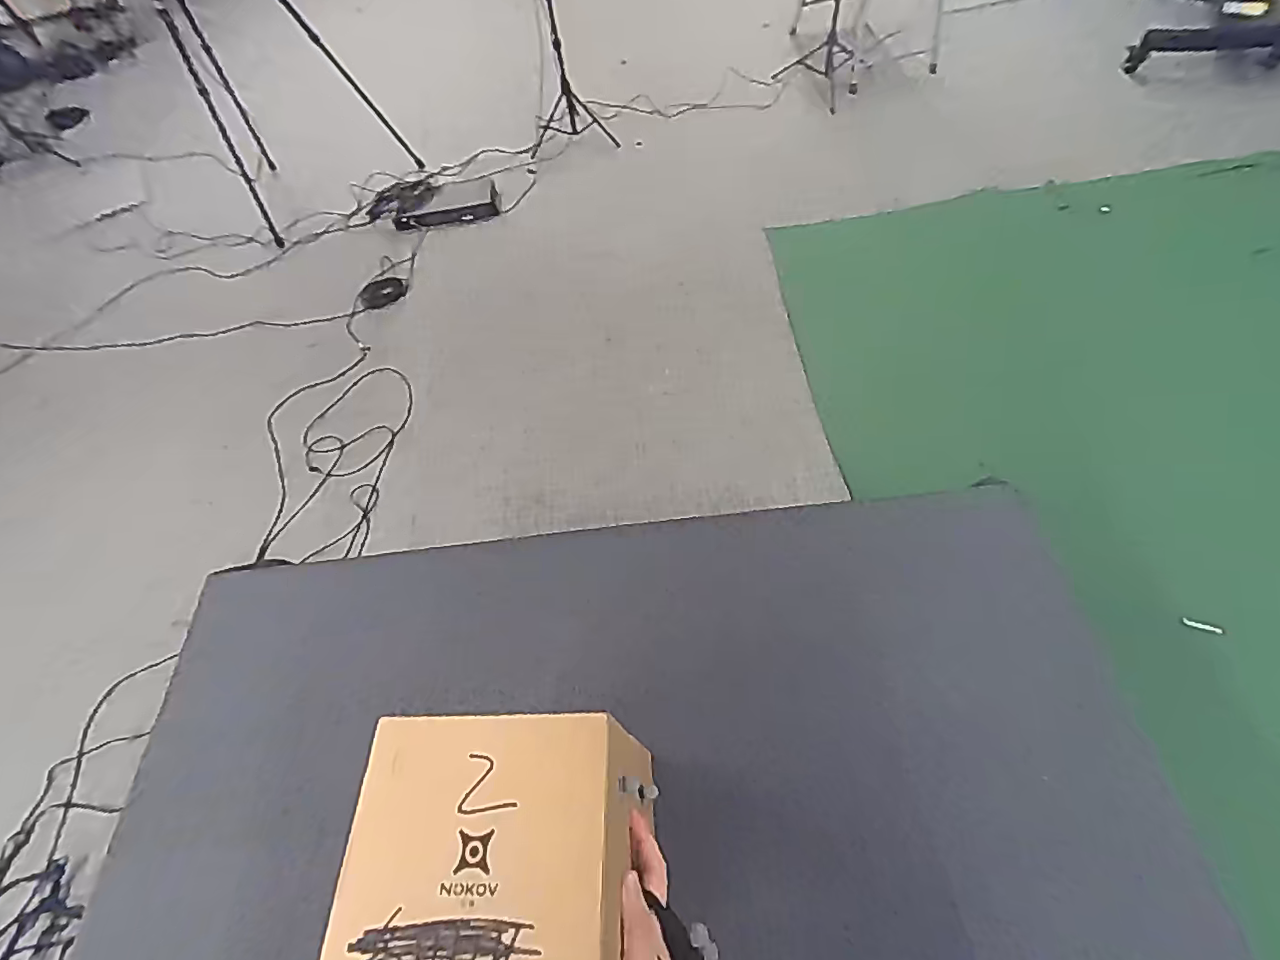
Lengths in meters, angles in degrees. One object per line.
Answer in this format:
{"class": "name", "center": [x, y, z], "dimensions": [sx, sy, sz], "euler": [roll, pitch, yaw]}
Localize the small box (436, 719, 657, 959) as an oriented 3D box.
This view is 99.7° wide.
{"class": "small box", "center": [-0.073, 0.345, 0.530], "dimensions": [0.168, 0.176, 0.179], "euler": [-5, 58, 5]}
